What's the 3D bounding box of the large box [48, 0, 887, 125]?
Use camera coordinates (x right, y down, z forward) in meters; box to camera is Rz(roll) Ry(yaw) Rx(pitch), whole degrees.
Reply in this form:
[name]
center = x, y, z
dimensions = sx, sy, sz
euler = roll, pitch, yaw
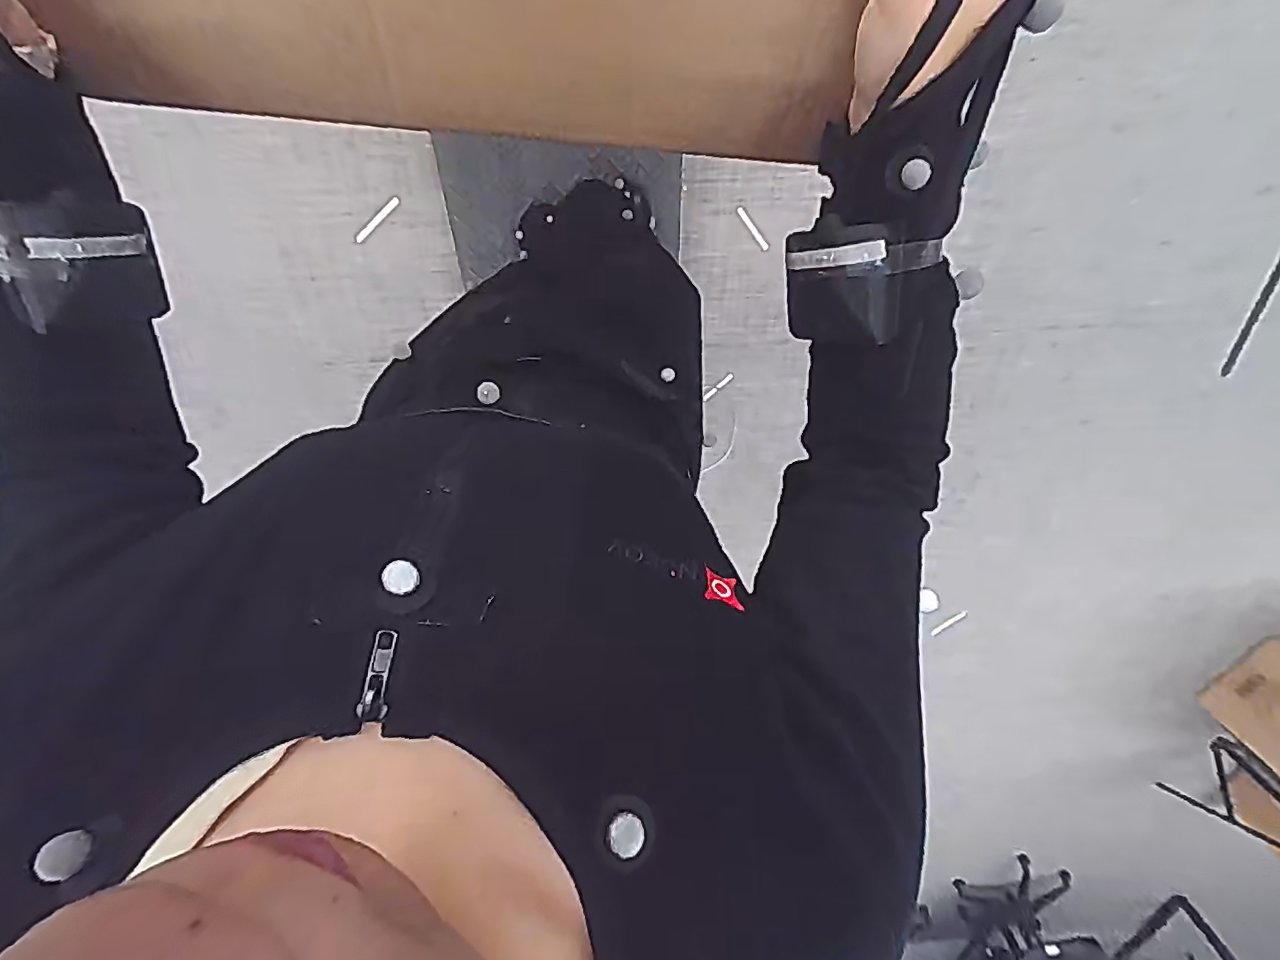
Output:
[large box]
center = -0.075, -0.413, 0.246
dimensions = 0.408, 0.320, 0.320
euler = 2, 148, -5
